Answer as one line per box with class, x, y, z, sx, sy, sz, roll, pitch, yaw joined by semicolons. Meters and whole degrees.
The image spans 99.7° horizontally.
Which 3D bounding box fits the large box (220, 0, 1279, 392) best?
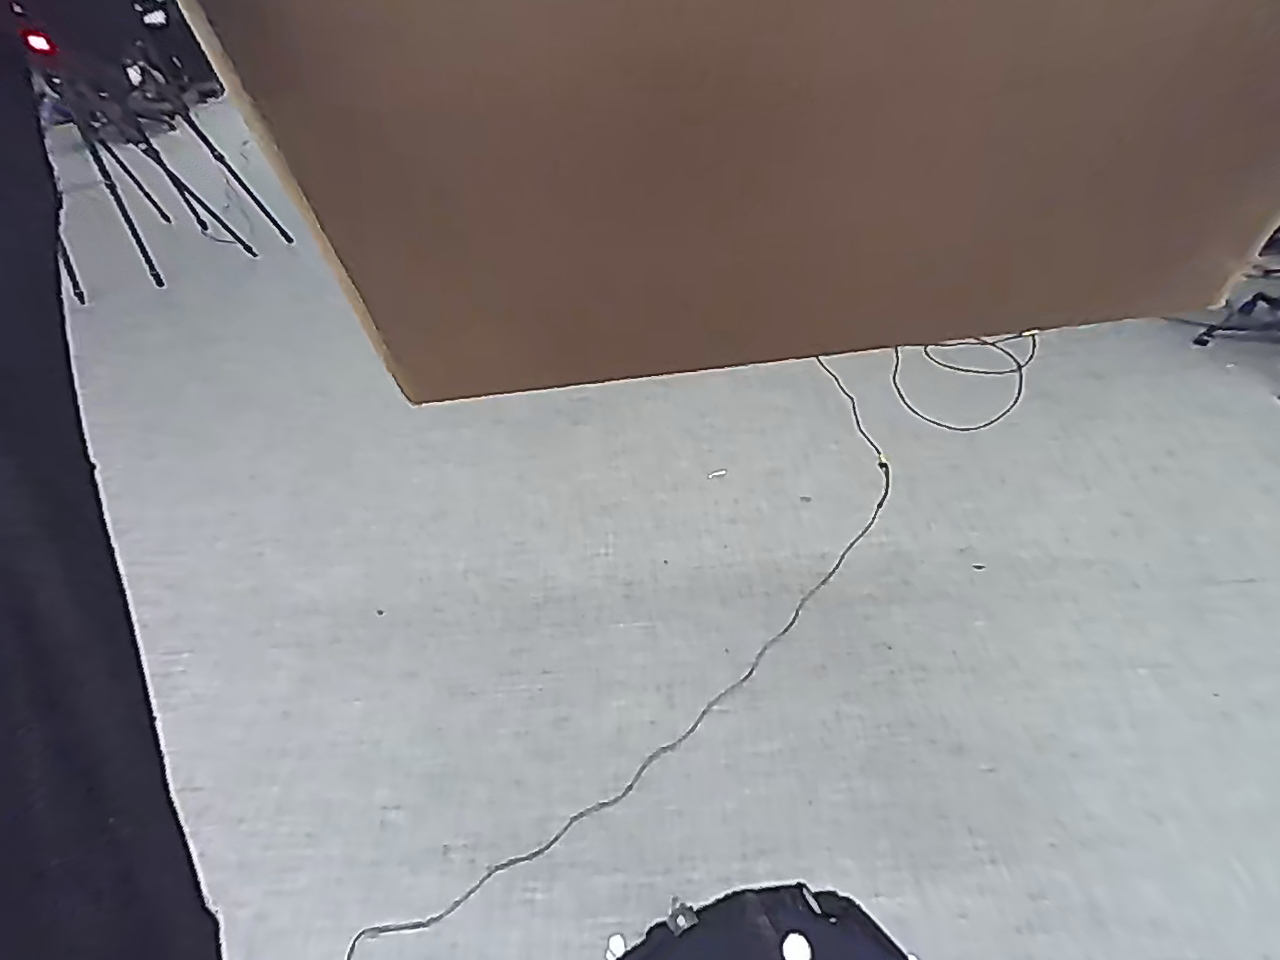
large box;0.051;-0.275;0.271;0.408;0.320;0.320;-7;49;1
